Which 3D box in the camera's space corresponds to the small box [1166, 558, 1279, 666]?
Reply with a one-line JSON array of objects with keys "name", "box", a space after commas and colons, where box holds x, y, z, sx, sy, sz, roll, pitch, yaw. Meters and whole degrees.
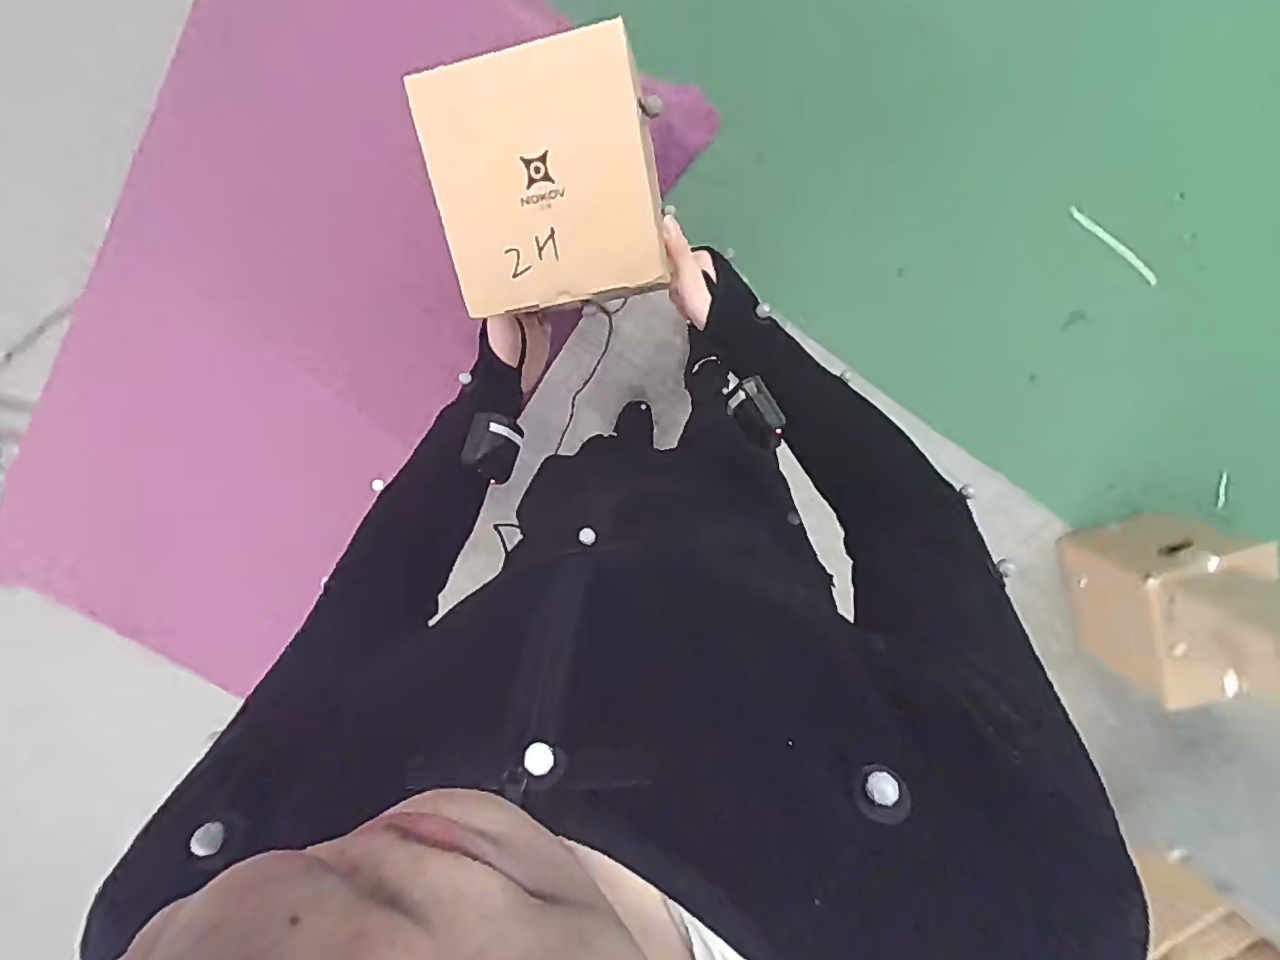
[{"name": "small box", "box": [1.400, 0.306, 1.277, 0.179, 0.176, 0.168, -17, 103, 4]}]

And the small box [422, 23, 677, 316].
[{"name": "small box", "box": [-0.060, -0.248, 0.481, 0.168, 0.176, 0.179, -7, 108, 8]}]
